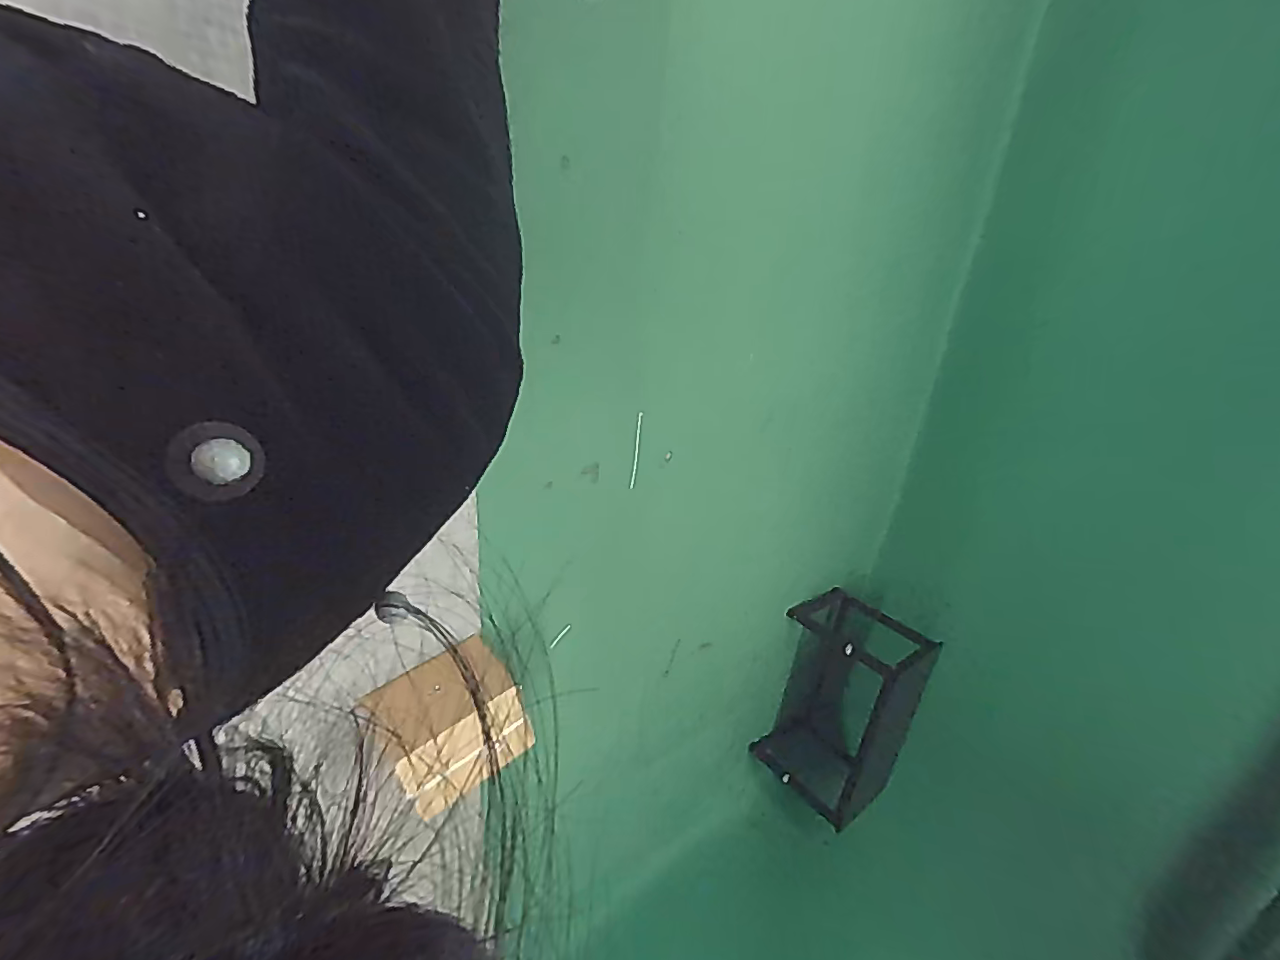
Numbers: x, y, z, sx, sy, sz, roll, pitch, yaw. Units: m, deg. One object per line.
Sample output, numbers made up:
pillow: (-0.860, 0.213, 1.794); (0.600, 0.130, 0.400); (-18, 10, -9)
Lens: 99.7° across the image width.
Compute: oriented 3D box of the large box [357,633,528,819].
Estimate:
large box: (-0.647, 0.796, 1.796); (0.408, 0.320, 0.320); (-27, 128, -31)
